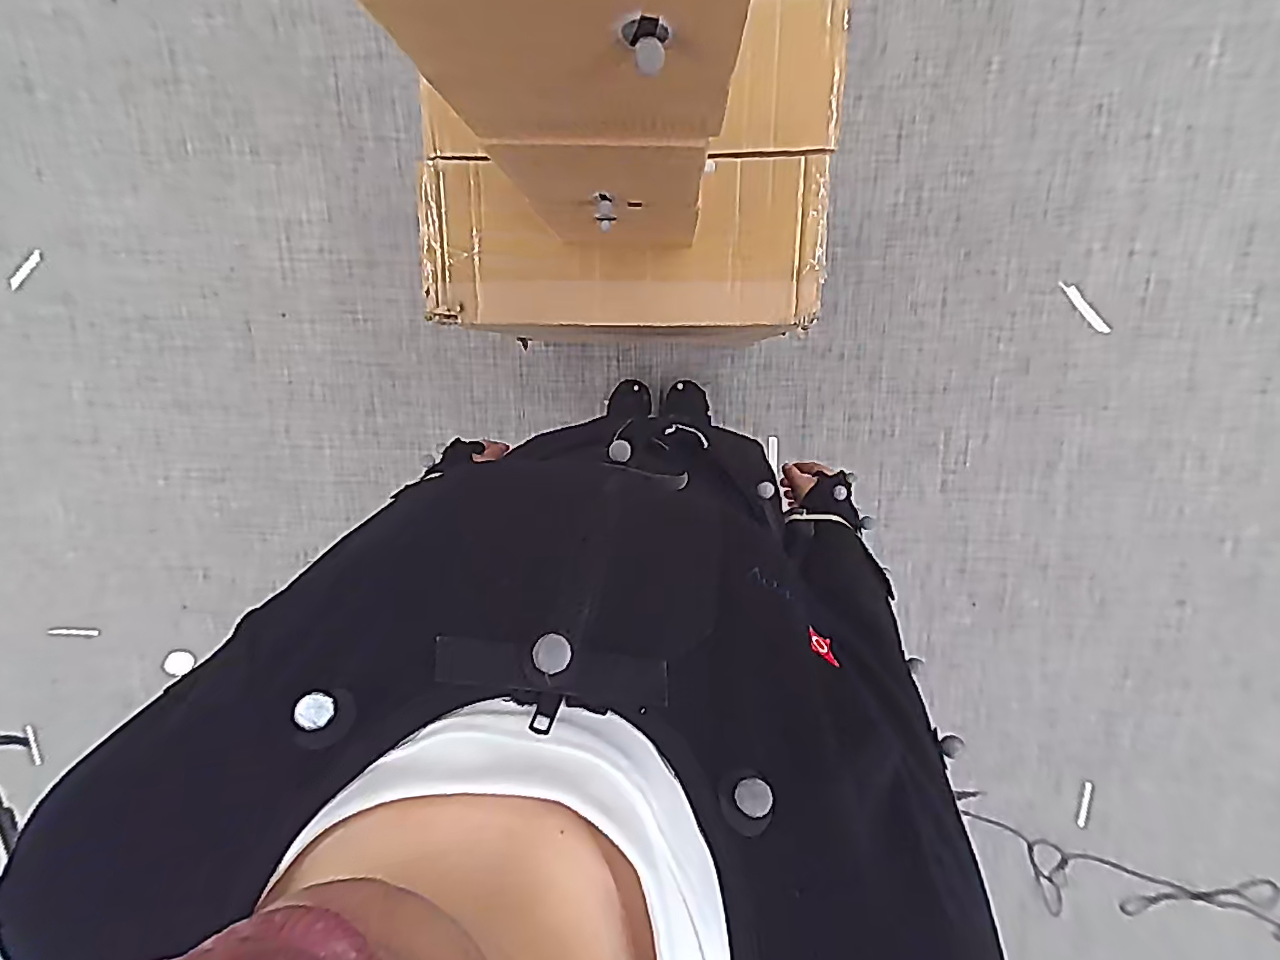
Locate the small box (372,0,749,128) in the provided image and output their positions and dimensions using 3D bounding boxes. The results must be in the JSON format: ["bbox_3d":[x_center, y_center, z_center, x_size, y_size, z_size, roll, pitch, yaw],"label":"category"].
[{"bbox_3d":[-0.032,-0.305,0.275,0.179,0.176,0.168,2,102,3],"label":"small box"}]

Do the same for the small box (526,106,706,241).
[{"bbox_3d":[-0.019,-0.370,0.598,0.179,0.176,0.168,3,102,2],"label":"small box"}]
